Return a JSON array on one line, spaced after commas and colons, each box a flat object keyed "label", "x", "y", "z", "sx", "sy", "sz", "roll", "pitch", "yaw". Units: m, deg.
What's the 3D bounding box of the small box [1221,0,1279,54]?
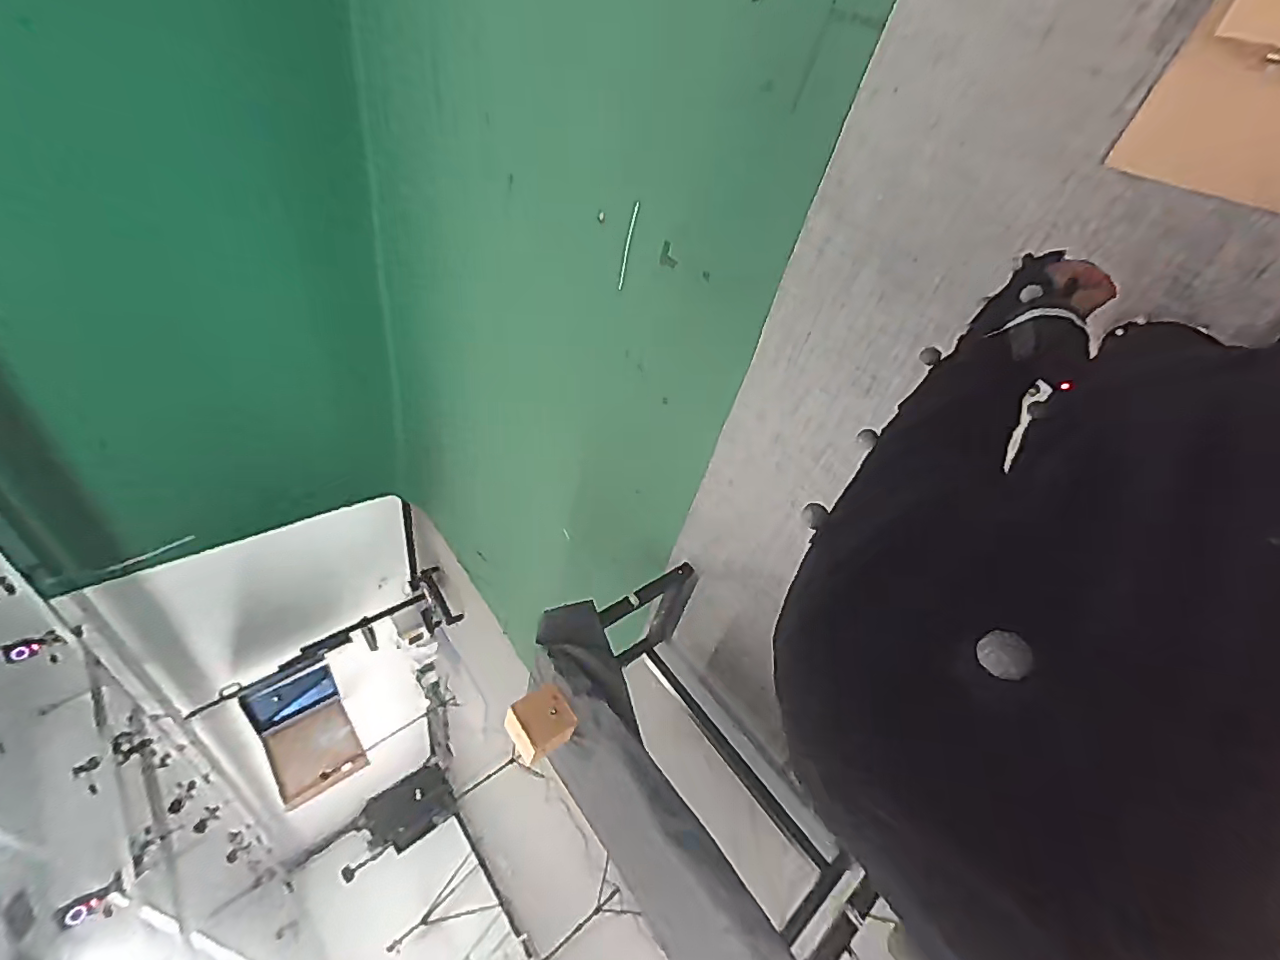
[{"label": "small box", "x": 0.901, "y": -0.648, "z": 0.675, "sx": 0.168, "sy": 0.176, "sz": 0.179, "roll": 44, "pitch": 139, "yaw": 30}]

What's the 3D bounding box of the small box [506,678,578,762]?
[{"label": "small box", "x": -0.328, "y": 0.800, "z": 1.809, "sx": 0.168, "sy": 0.176, "sz": 0.179, "roll": 48, "pitch": 140, "yaw": 25}]
